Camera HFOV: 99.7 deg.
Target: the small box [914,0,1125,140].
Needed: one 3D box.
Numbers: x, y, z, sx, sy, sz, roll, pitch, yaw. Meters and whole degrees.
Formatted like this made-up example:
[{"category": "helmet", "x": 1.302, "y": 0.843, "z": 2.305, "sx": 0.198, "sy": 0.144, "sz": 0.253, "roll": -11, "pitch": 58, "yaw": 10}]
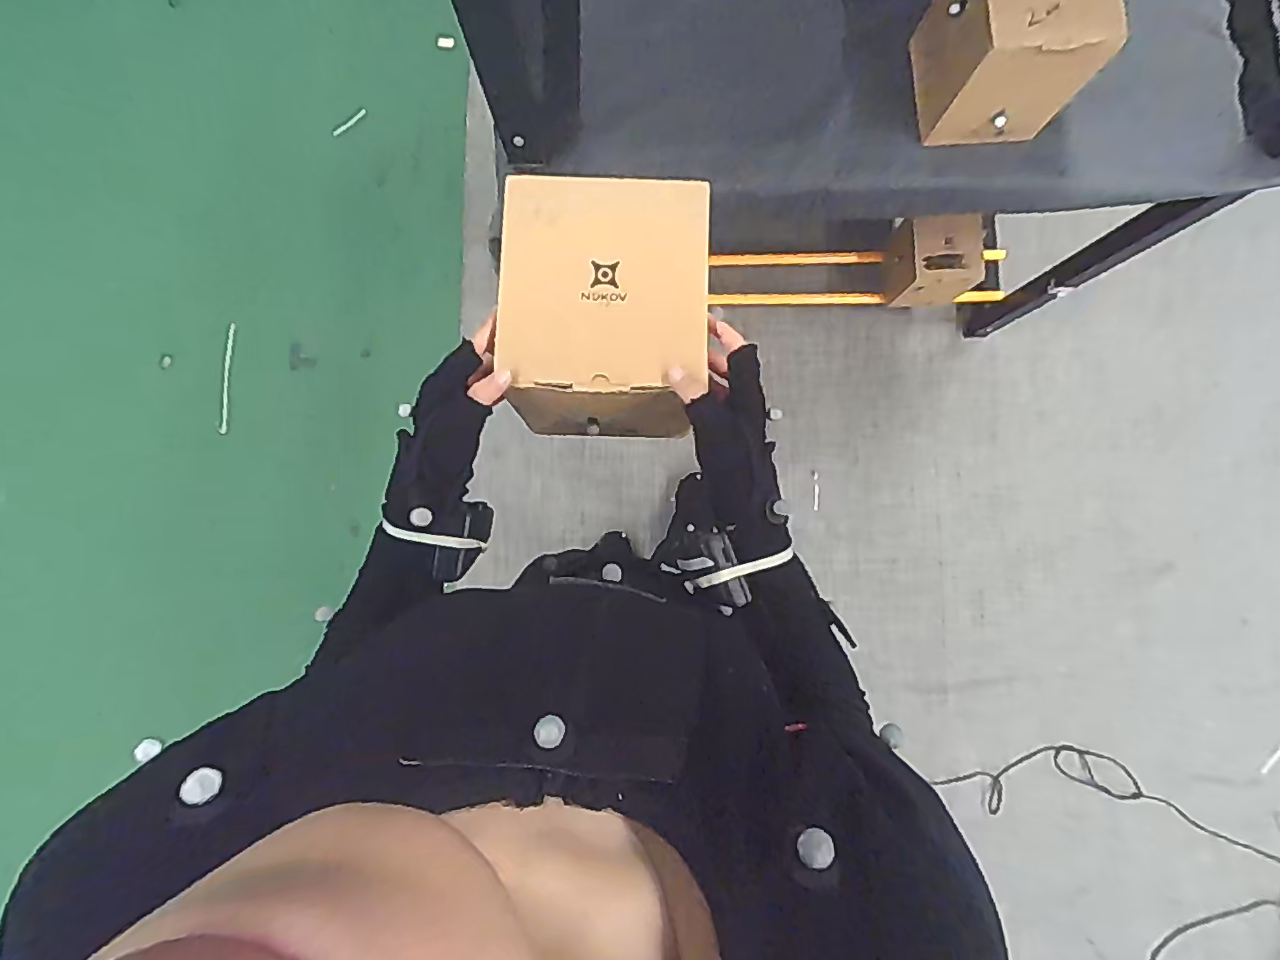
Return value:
[{"category": "small box", "x": 0.499, "y": -0.606, "z": 0.740, "sx": 0.168, "sy": 0.176, "sz": 0.179, "roll": -3, "pitch": 84, "yaw": 0}]
